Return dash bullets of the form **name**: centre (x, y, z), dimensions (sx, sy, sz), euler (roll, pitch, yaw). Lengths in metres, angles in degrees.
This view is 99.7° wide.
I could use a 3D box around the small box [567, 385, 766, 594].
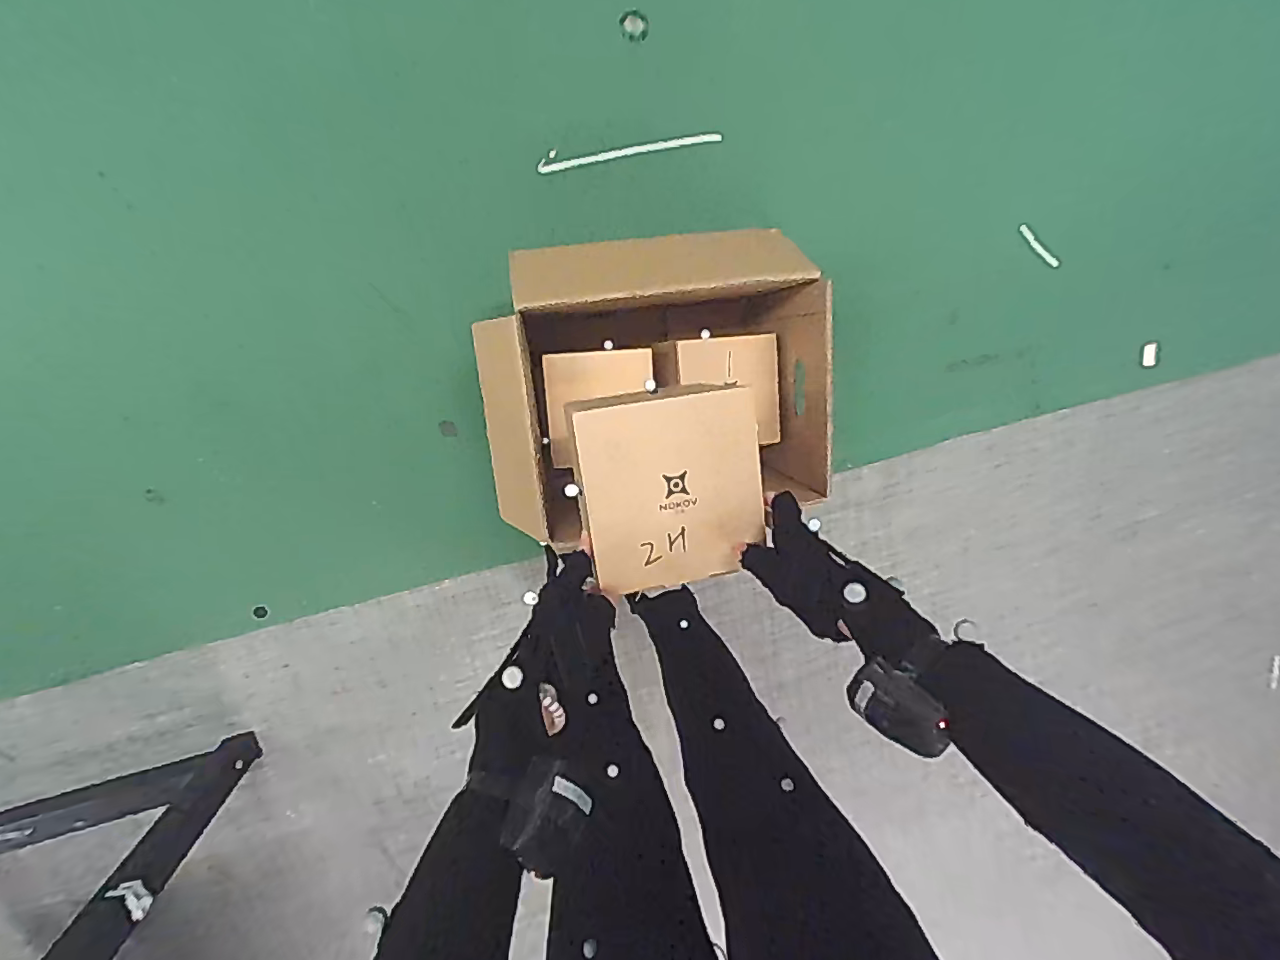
- **small box**: centre (0.018, -0.004, 0.569), dimensions (0.168, 0.176, 0.179), euler (-9, 103, -8)
